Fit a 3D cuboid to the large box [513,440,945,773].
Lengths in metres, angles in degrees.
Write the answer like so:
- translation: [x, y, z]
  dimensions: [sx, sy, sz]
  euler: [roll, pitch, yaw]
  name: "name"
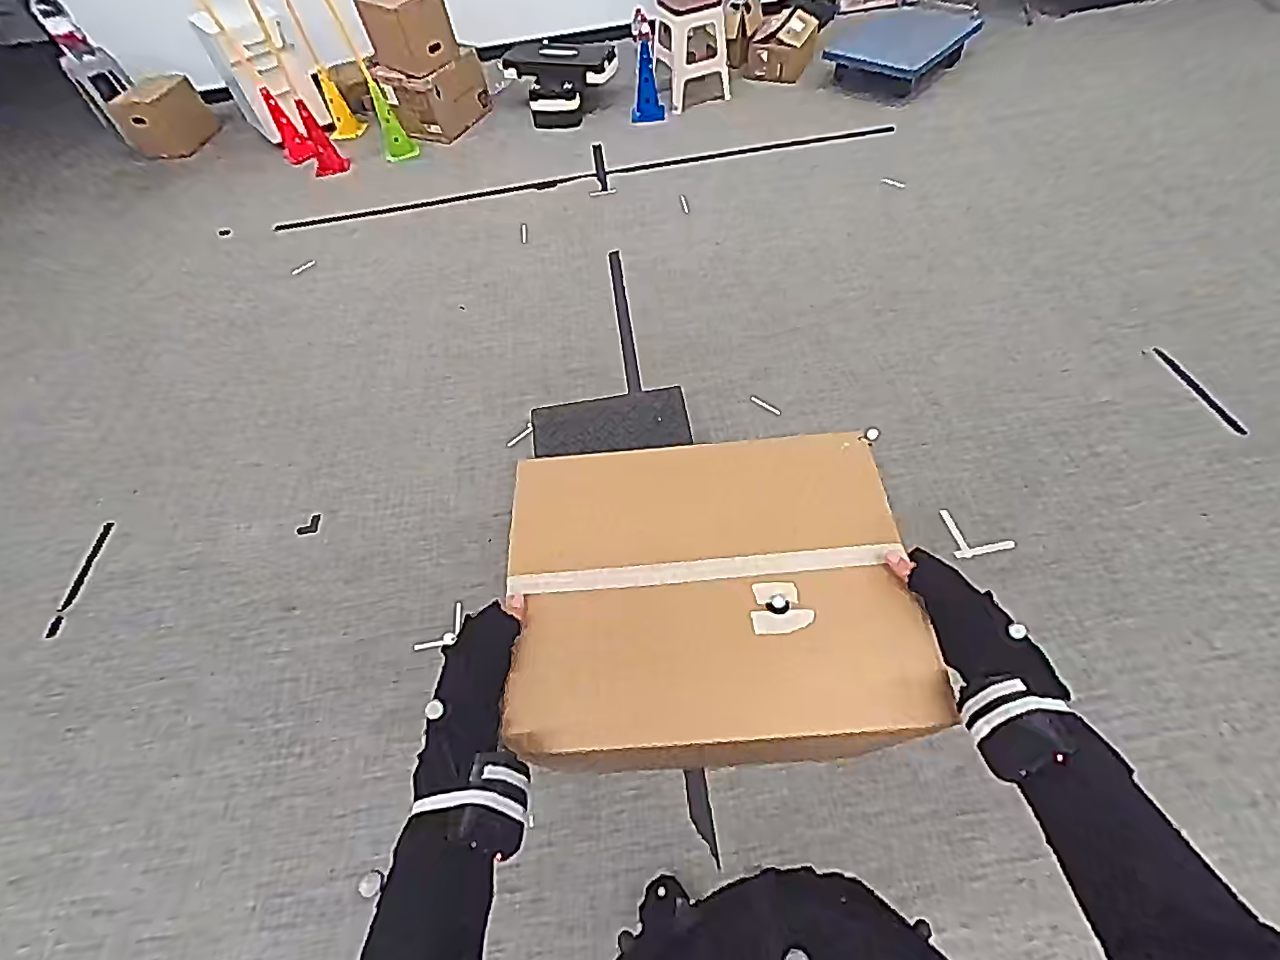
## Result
- translation: [0.077, 0.177, 0.691]
  dimensions: [0.408, 0.320, 0.320]
  euler: [-5, 59, 1]
  name: "large box"
